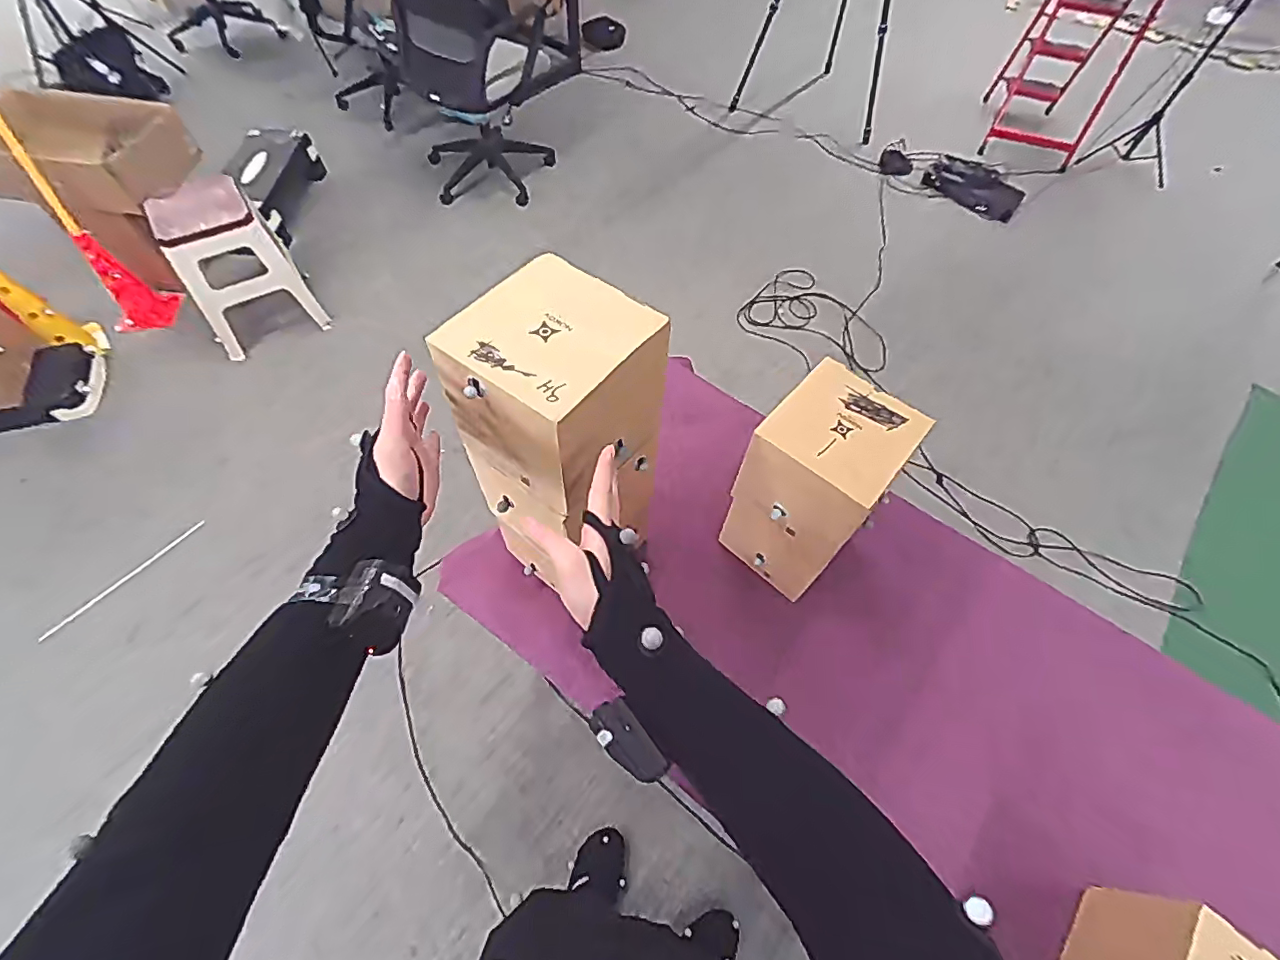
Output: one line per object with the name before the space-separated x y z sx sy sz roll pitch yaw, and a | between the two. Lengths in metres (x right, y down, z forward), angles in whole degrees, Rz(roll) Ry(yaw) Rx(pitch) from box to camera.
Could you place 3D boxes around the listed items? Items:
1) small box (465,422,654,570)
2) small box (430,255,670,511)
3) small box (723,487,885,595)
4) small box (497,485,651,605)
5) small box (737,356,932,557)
small box | -0.098 -0.011 0.724 0.168 0.176 0.179 35 62 18
small box | -0.089 -0.102 0.588 0.168 0.176 0.179 33 61 18
small box | 0.256 0.055 0.887 0.168 0.176 0.179 40 66 20
small box | -0.103 0.067 0.866 0.168 0.176 0.179 35 63 18
small box | 0.253 -0.028 0.745 0.168 0.176 0.179 38 66 19
